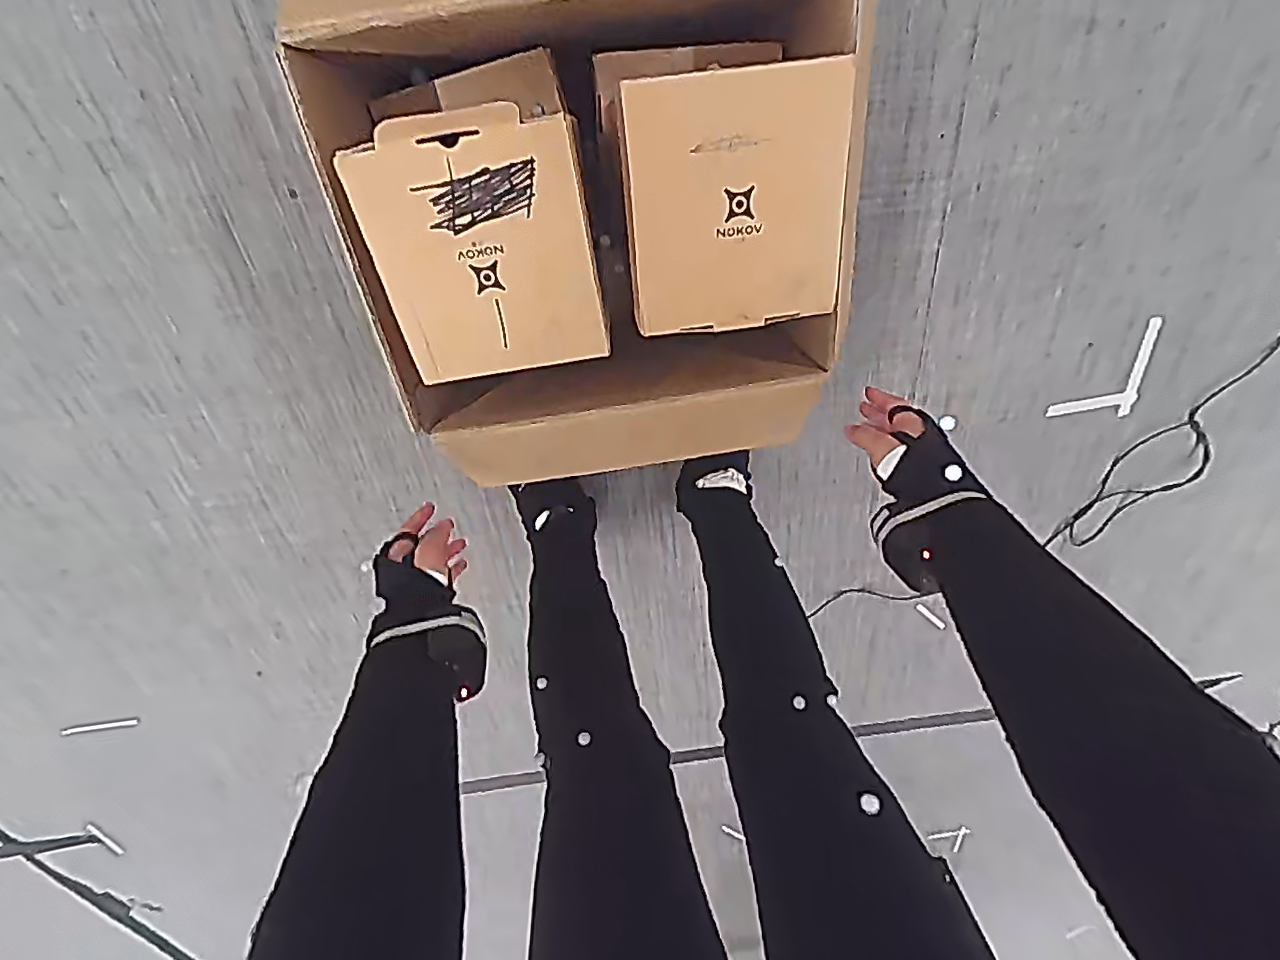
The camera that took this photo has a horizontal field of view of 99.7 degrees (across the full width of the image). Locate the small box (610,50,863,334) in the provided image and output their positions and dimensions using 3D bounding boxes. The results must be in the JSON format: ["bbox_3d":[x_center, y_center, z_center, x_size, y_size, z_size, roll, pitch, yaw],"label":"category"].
[{"bbox_3d":[0.069,-0.243,0.470,0.168,0.176,0.179,-9,120,-3],"label":"small box"}]
